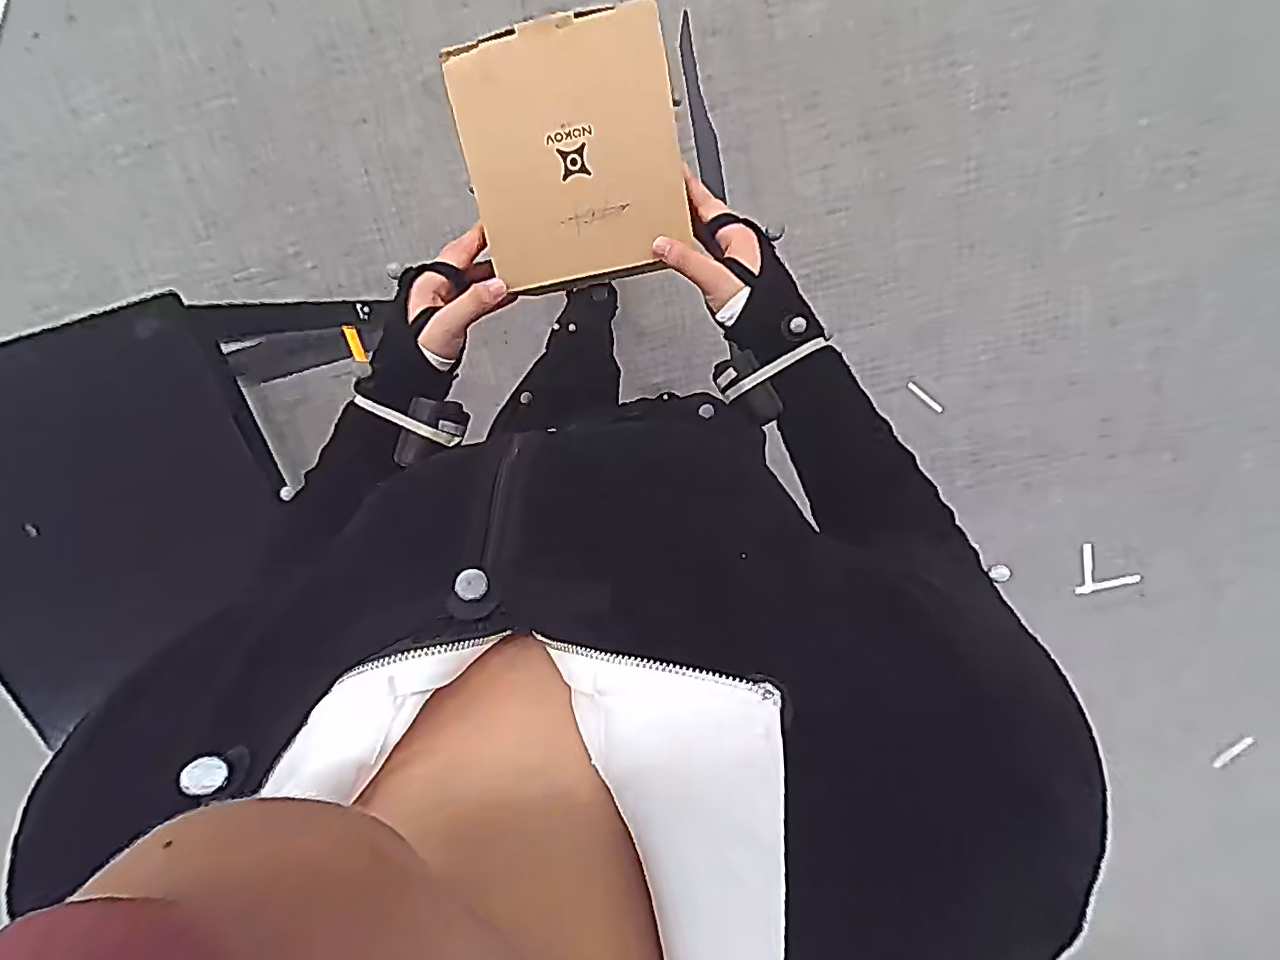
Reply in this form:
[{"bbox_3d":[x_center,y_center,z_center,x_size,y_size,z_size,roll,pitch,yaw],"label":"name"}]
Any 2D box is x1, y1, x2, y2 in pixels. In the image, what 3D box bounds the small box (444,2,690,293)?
[{"bbox_3d":[-0.052,-0.279,0.500,0.168,0.176,0.179,-10,108,5],"label":"small box"}]
